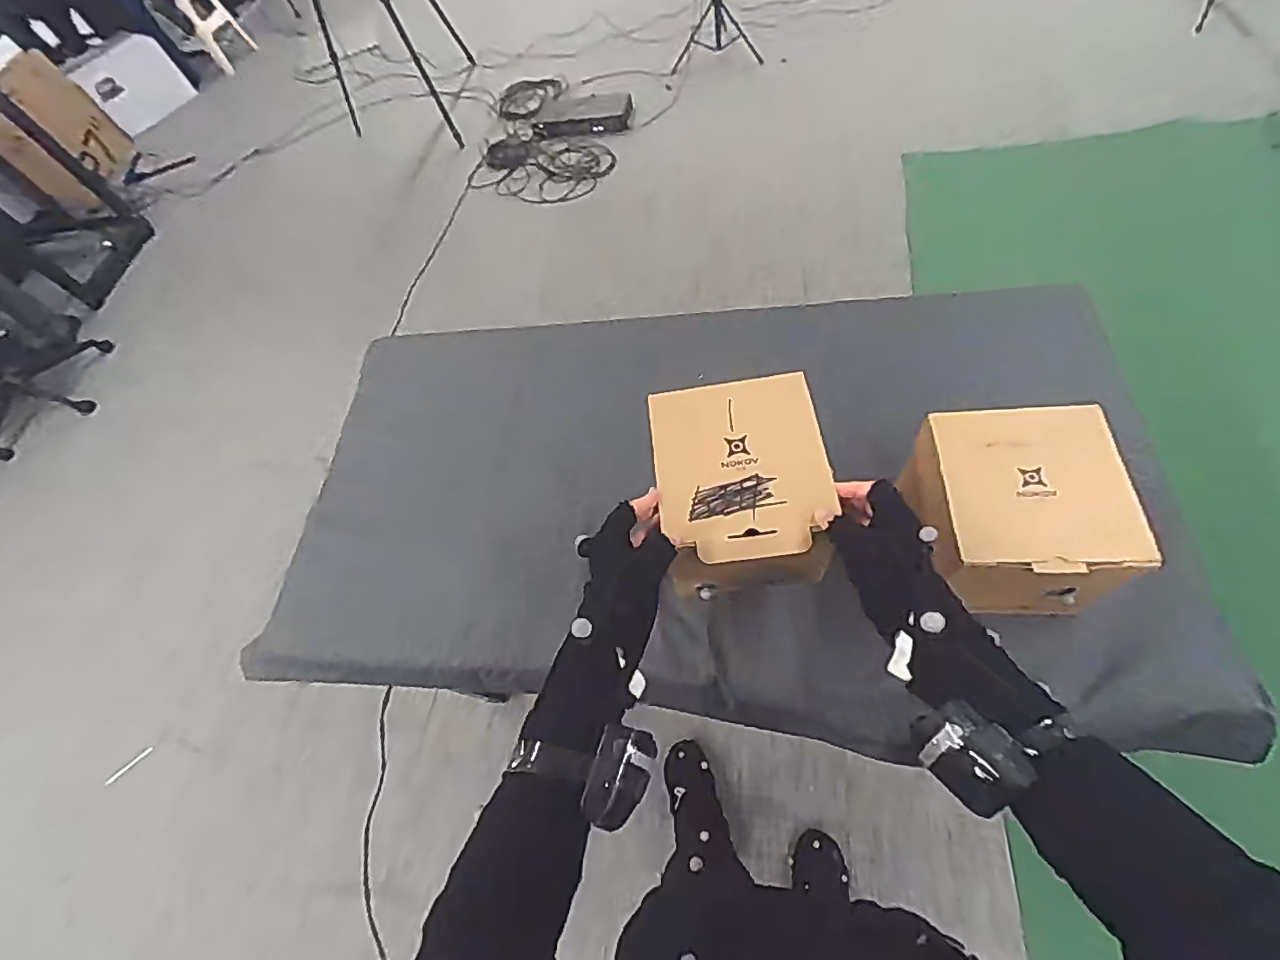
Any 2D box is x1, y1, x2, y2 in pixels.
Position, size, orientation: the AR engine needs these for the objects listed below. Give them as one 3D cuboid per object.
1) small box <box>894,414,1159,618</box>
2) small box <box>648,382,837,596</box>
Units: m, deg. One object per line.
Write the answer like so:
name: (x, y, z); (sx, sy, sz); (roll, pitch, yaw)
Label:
small box: (0.400, 0.049, 0.601); (0.168, 0.176, 0.179); (-3, 59, 10)
small box: (0.107, 0.021, 0.601); (0.168, 0.176, 0.179); (-8, 60, 6)
